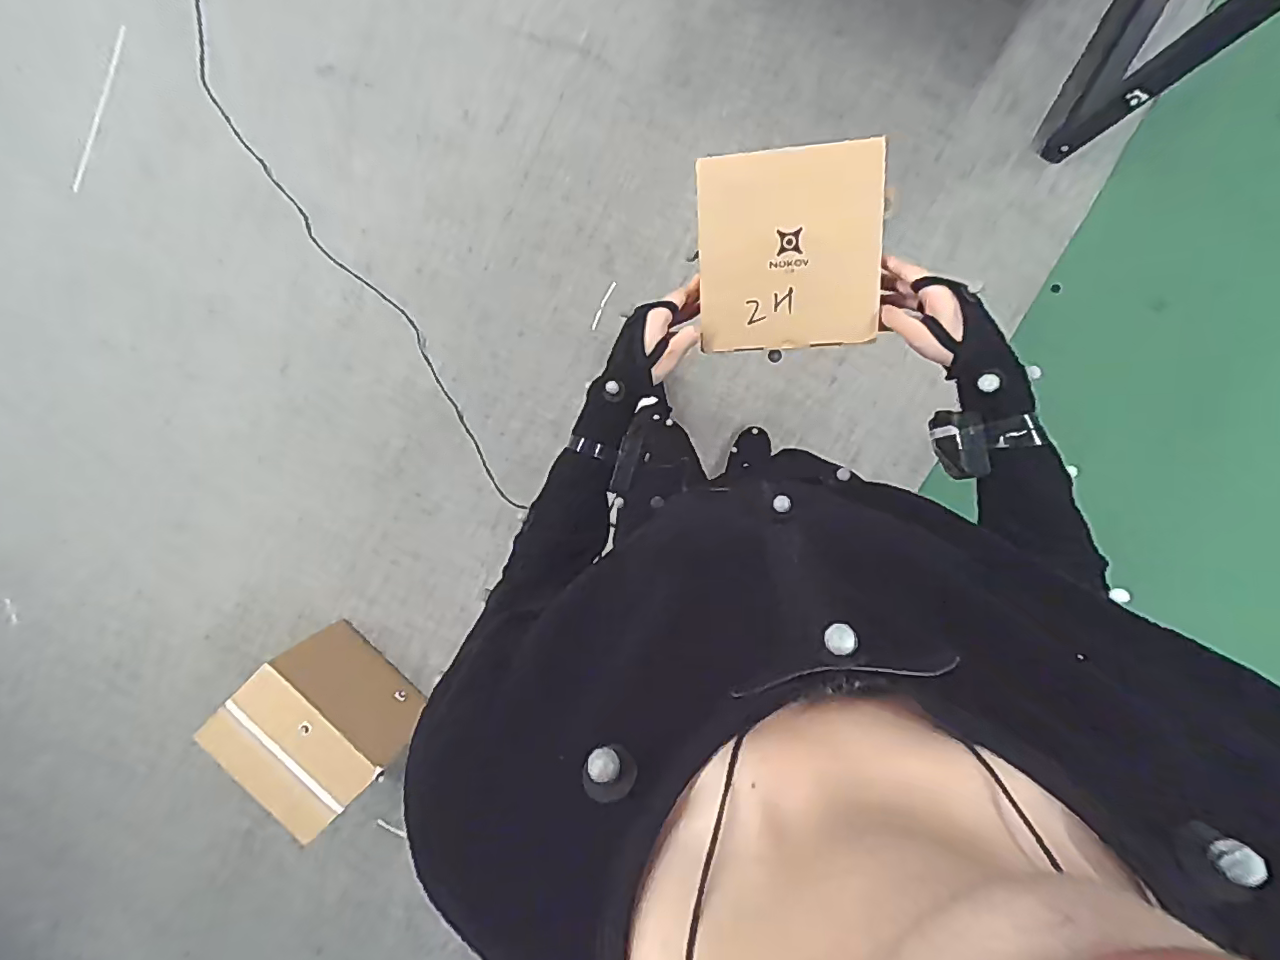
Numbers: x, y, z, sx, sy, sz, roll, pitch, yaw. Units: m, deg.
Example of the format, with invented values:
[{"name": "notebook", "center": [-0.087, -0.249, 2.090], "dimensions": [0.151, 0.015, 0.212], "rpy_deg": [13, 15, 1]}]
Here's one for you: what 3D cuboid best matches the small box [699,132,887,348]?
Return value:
[{"name": "small box", "center": [0.147, -0.233, 0.571], "dimensions": [0.168, 0.176, 0.179], "rpy_deg": [0, 104, 9]}]
